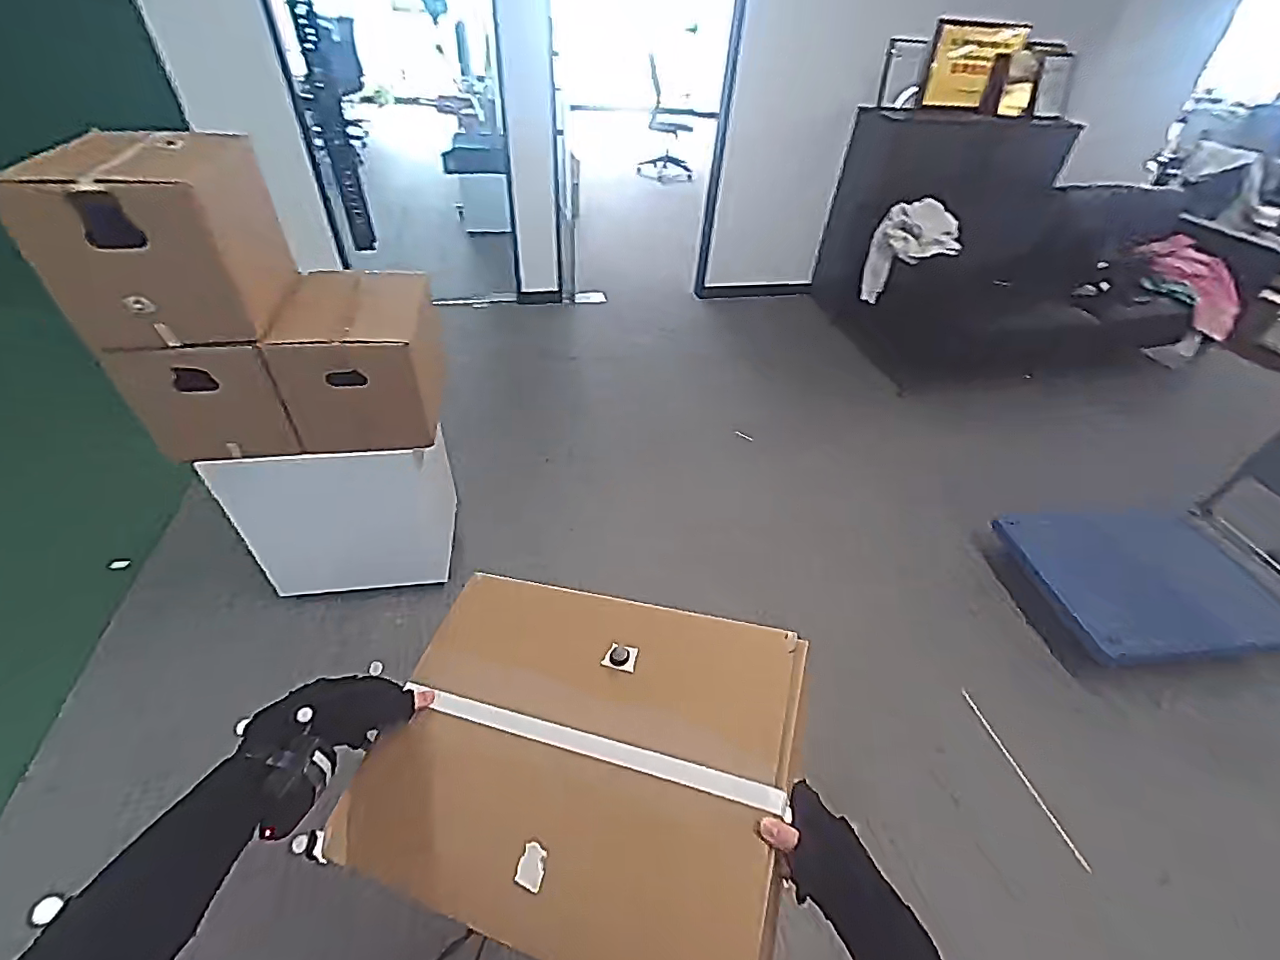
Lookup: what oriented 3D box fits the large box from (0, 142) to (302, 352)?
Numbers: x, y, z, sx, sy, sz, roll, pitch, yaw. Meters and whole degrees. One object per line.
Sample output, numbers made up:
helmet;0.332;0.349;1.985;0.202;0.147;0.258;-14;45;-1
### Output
large box;-0.993;-0.517;1.178;0.320;0.320;0.408;-7;42;-13
